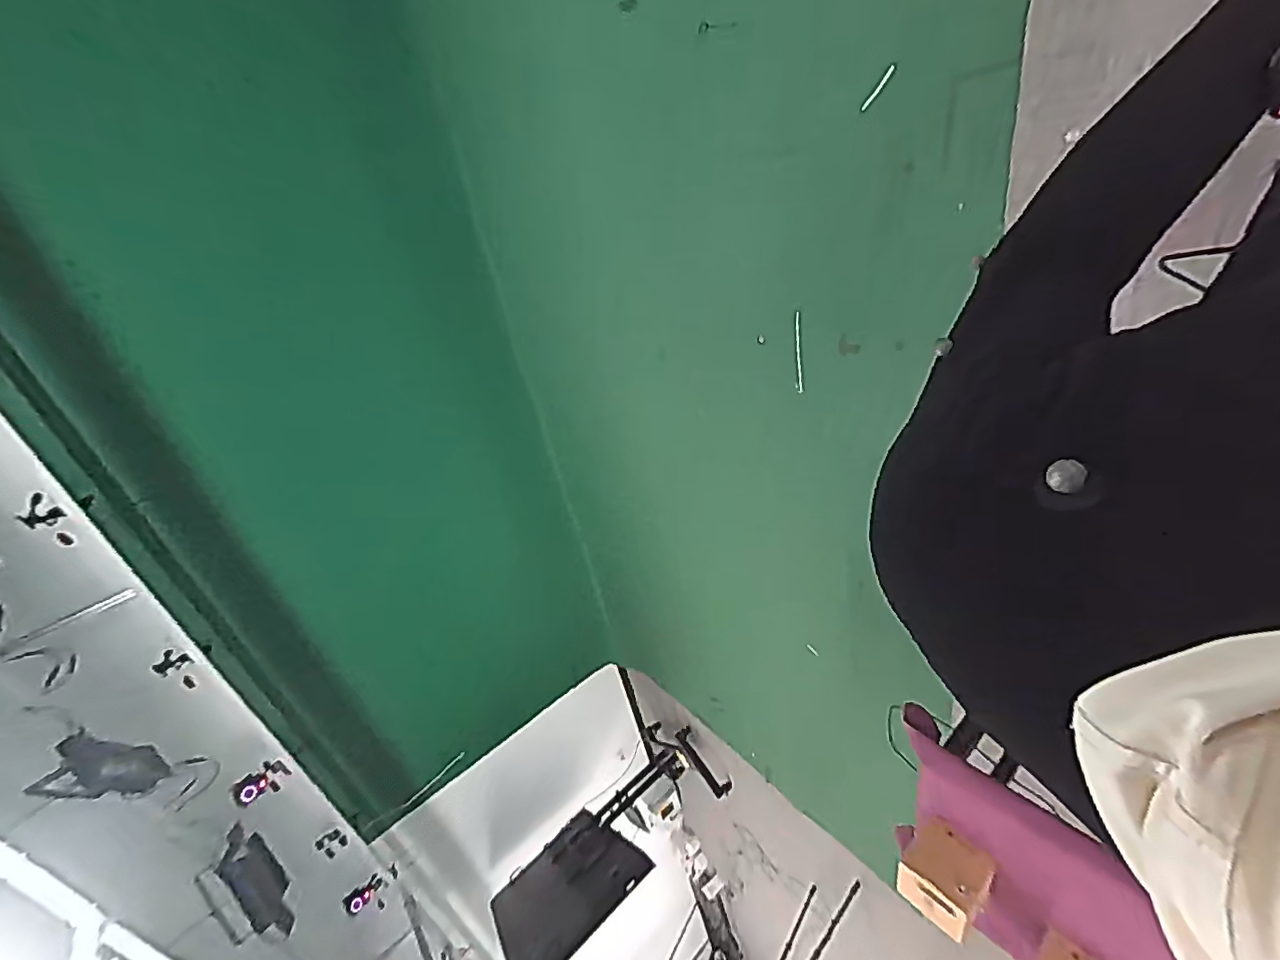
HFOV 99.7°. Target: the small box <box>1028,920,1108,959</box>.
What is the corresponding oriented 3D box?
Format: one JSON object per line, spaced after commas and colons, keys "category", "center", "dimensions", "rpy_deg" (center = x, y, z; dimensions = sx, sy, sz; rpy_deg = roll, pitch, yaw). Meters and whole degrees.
{"category": "small box", "center": [1.008, 1.197, 1.262], "dimensions": [0.168, 0.176, 0.179], "rpy_deg": [20, 132, 48]}
